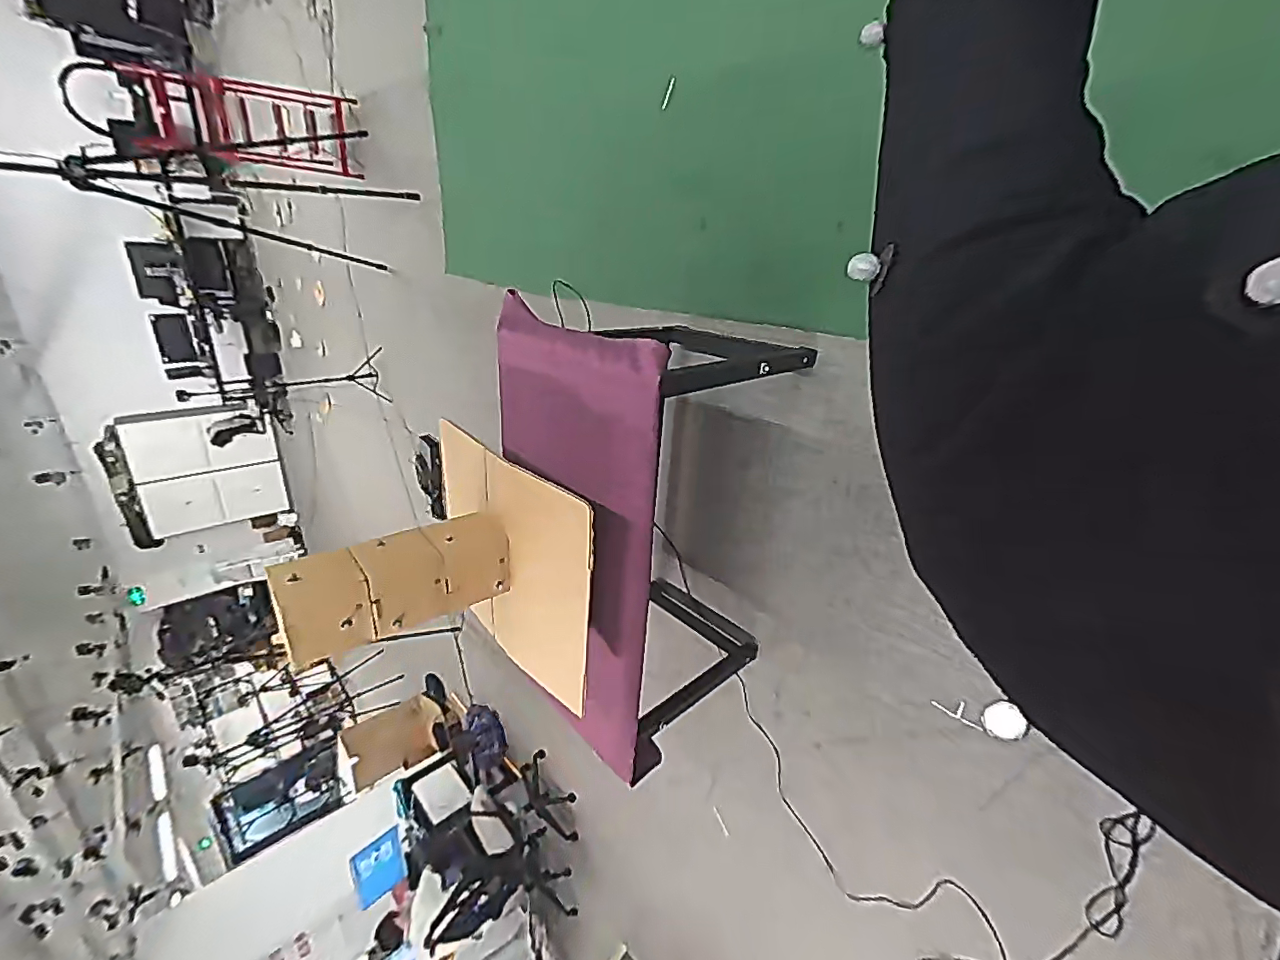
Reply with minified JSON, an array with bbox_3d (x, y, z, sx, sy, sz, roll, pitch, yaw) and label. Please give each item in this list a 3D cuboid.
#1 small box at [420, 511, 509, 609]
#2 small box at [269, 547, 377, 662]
[{"bbox_3d":[-0.450,0.198,1.403,0.179,0.176,0.168,29,124,43],"label":"small box"},{"bbox_3d":[-0.704,0.266,1.207,0.179,0.176,0.168,27,122,44],"label":"small box"}]
